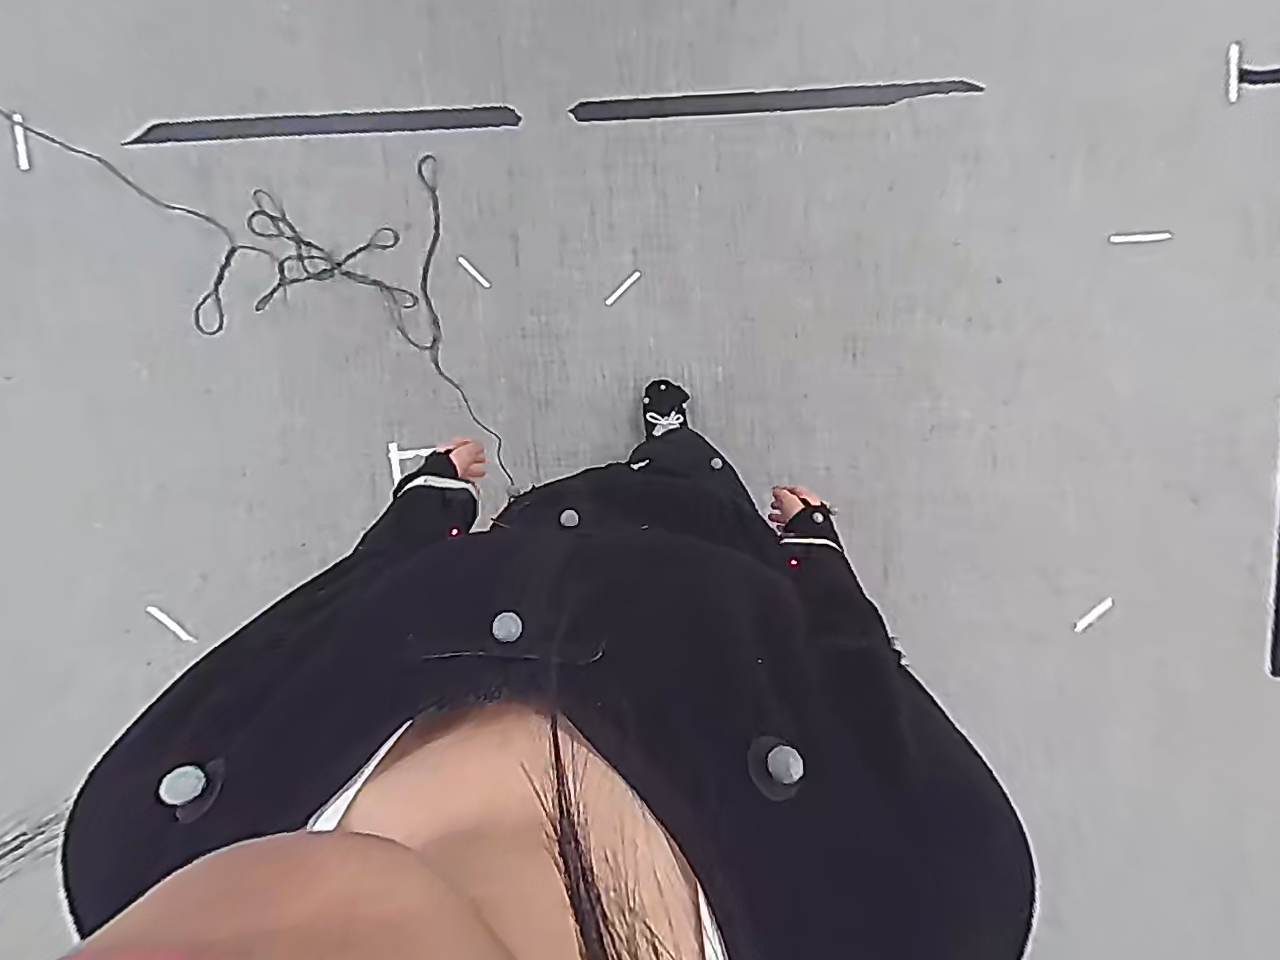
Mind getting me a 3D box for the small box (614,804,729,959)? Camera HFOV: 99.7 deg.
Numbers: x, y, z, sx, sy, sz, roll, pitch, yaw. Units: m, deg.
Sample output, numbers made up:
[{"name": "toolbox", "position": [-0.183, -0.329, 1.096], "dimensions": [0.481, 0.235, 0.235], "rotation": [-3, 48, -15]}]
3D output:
[{"name": "small box", "position": [0.045, 0.654, 0.868], "dimensions": [0.168, 0.176, 0.179], "rotation": [2, 96, 1]}]
